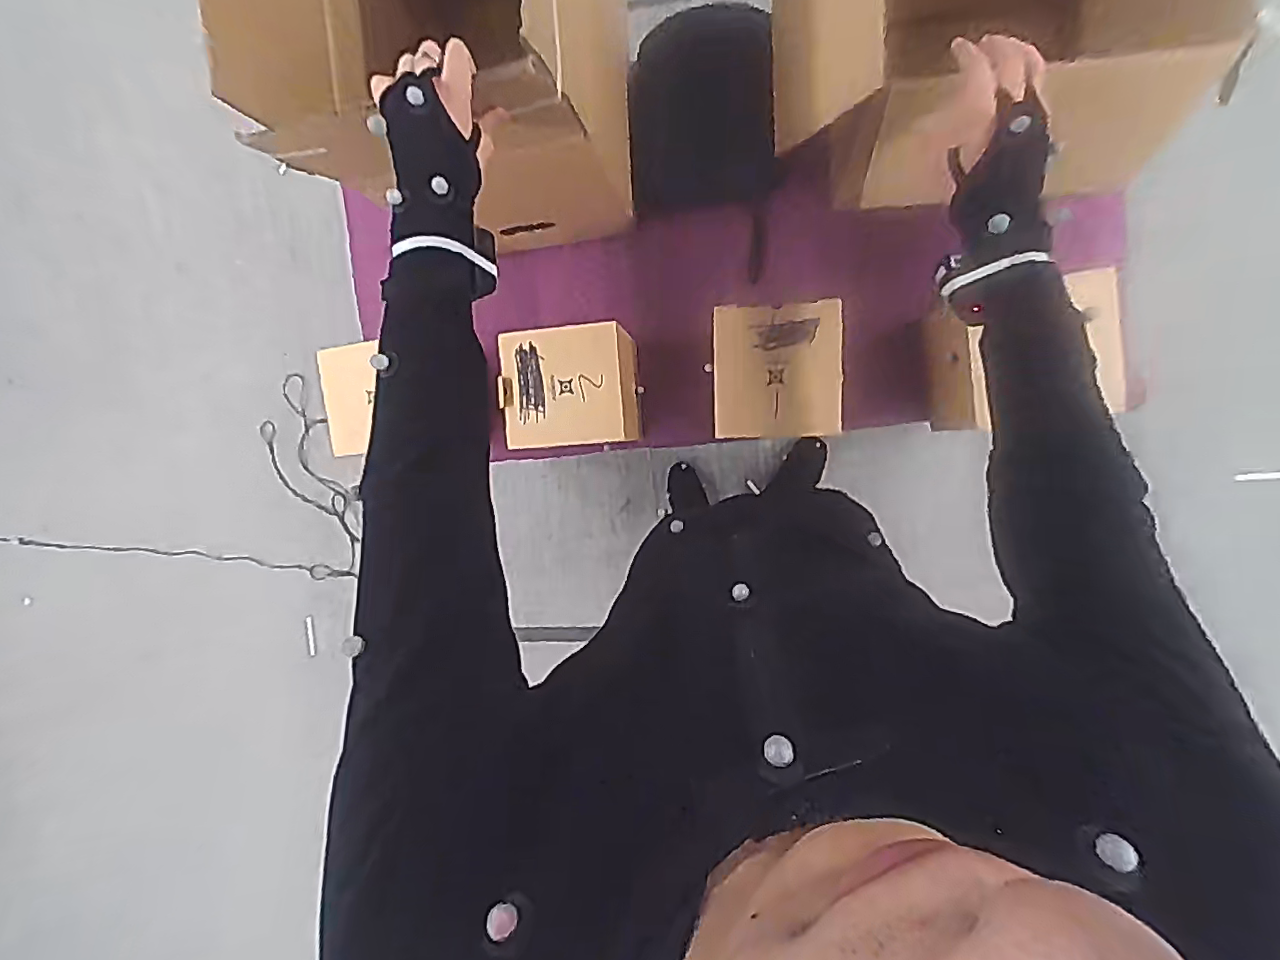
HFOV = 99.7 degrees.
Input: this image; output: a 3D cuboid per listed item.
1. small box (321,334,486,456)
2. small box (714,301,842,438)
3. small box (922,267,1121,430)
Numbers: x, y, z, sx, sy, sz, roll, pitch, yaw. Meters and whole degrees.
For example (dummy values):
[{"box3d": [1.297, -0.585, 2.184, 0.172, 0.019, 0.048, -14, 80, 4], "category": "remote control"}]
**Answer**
[{"box3d": [-0.379, -0.131, 0.889, 0.179, 0.176, 0.168, -7, 94, 9], "category": "small box"}, {"box3d": [0.193, -0.151, 0.791, 0.168, 0.176, 0.179, -1, 96, 10], "category": "small box"}, {"box3d": [0.501, -0.165, 0.736, 0.168, 0.176, 0.179, -7, 94, 11], "category": "small box"}]
